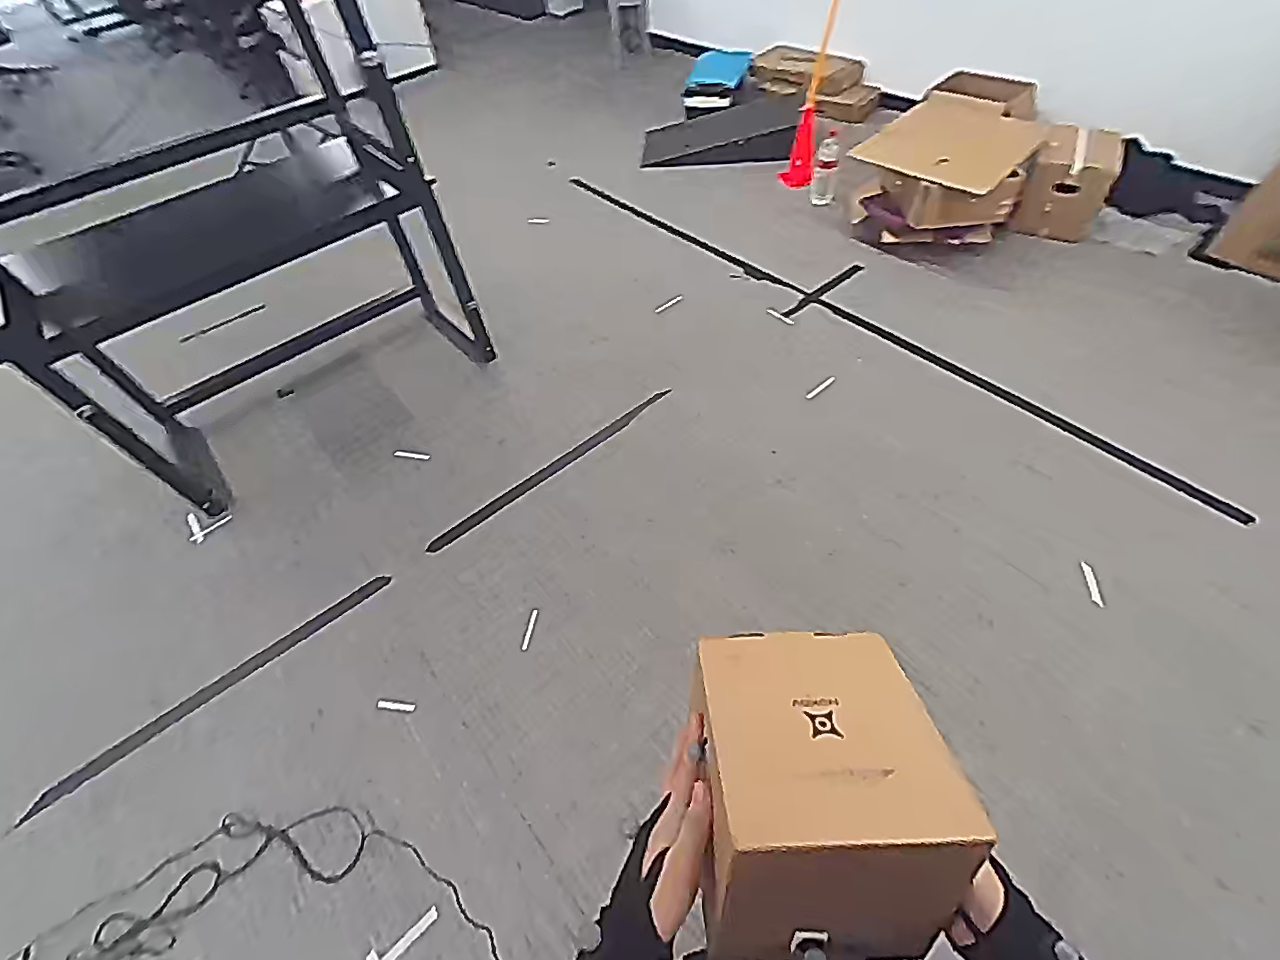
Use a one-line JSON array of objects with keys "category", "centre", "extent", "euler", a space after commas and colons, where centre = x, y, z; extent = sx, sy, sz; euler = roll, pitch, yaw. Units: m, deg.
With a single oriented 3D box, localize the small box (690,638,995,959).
[{"category": "small box", "centre": [0.135, 0.254, 0.442], "extent": [0.168, 0.176, 0.179], "euler": [-1, 29, -3]}]
